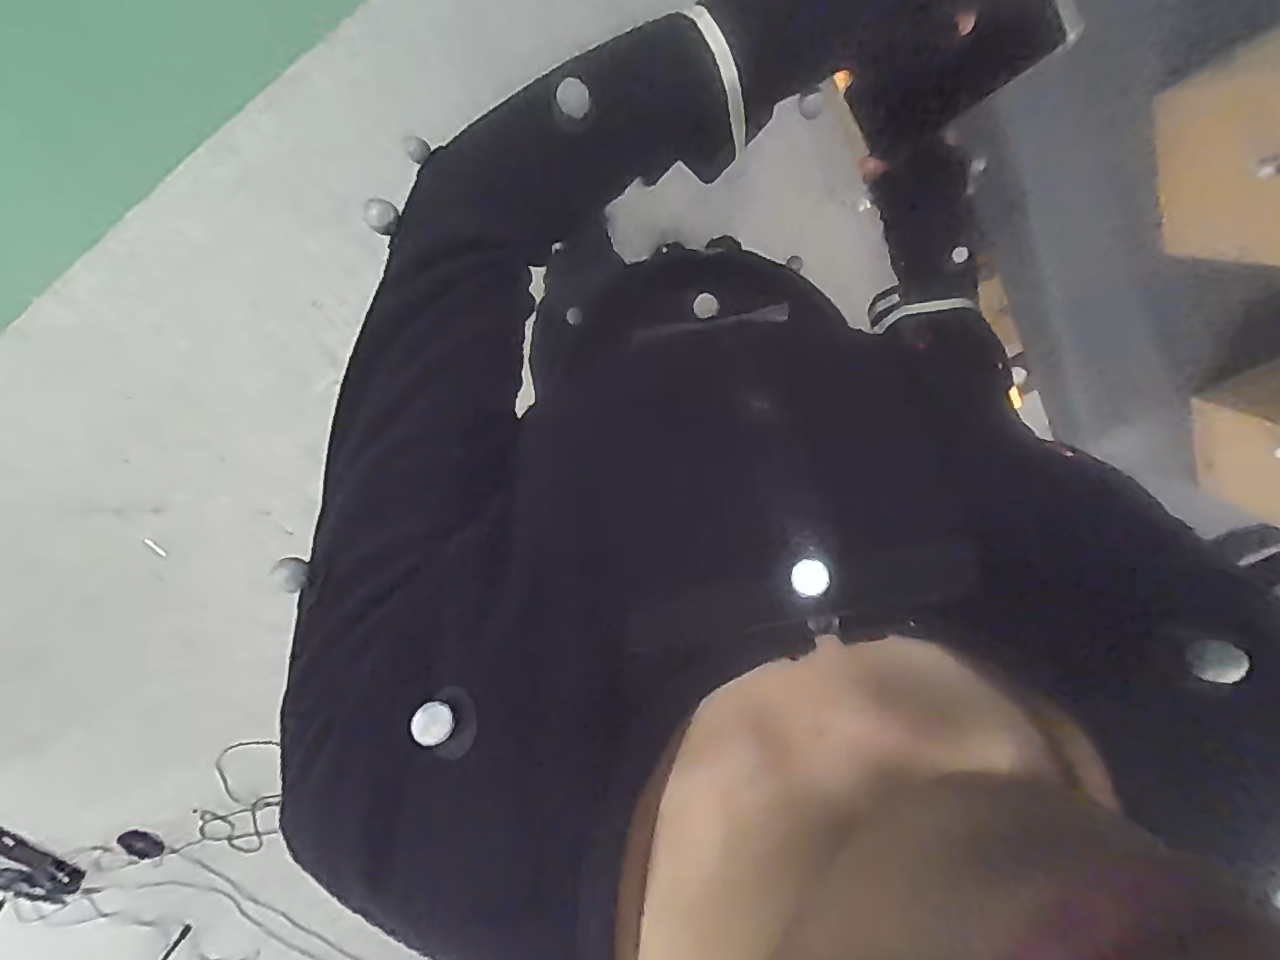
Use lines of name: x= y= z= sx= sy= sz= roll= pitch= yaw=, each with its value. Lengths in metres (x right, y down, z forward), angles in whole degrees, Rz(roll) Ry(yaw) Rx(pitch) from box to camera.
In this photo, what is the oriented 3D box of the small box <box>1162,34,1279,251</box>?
small box: x=0.648 y=-0.331 z=0.507 sx=0.168 sy=0.176 sz=0.179 roll=-27 pitch=115 yaw=12
